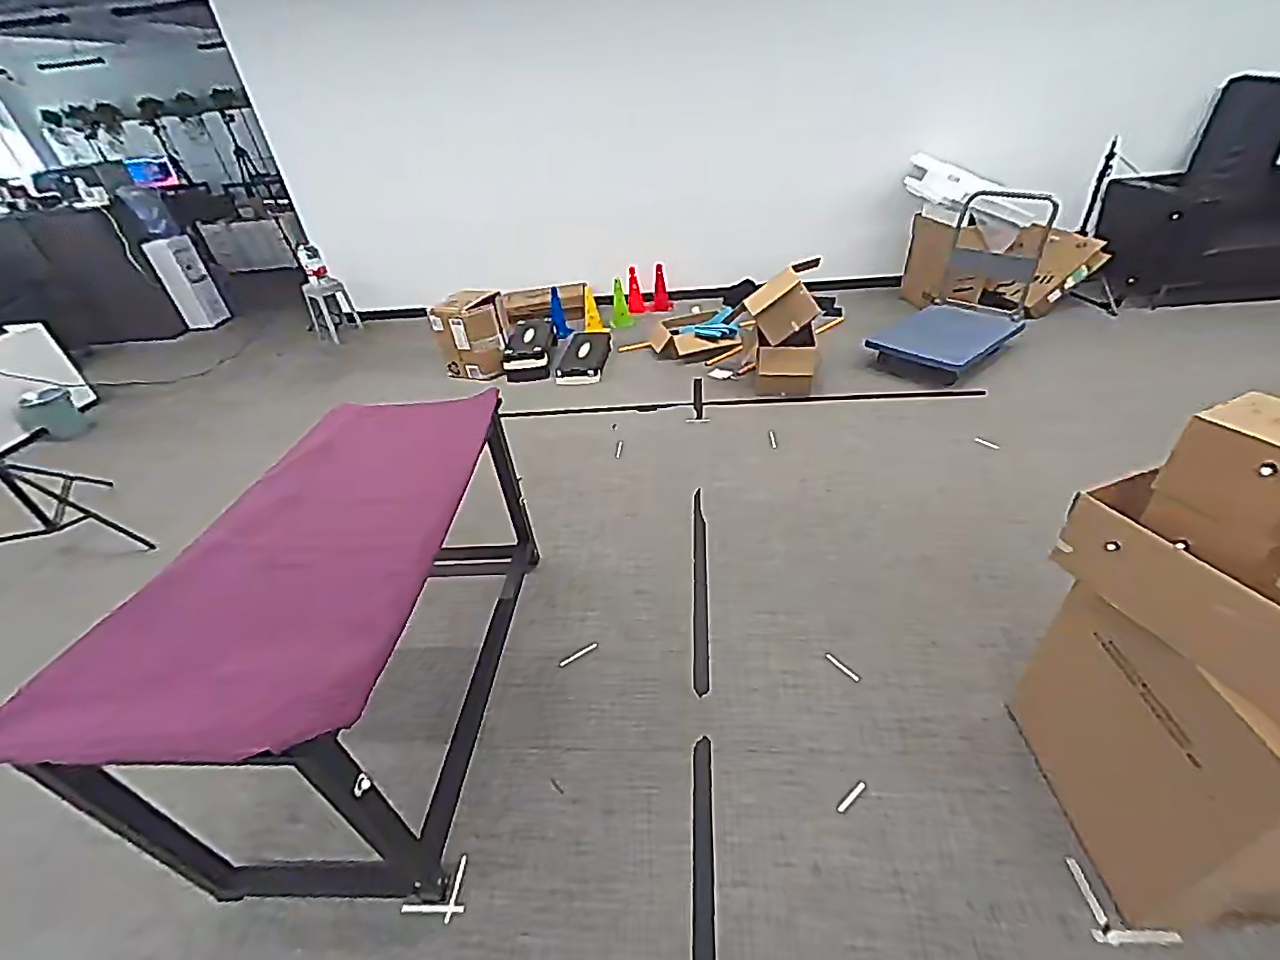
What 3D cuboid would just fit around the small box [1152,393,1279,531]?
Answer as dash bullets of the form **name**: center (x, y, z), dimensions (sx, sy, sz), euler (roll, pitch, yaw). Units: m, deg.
- **small box**: center (1.089, -0.028, 0.961), dimensions (0.168, 0.176, 0.179), euler (-18, 36, -14)
